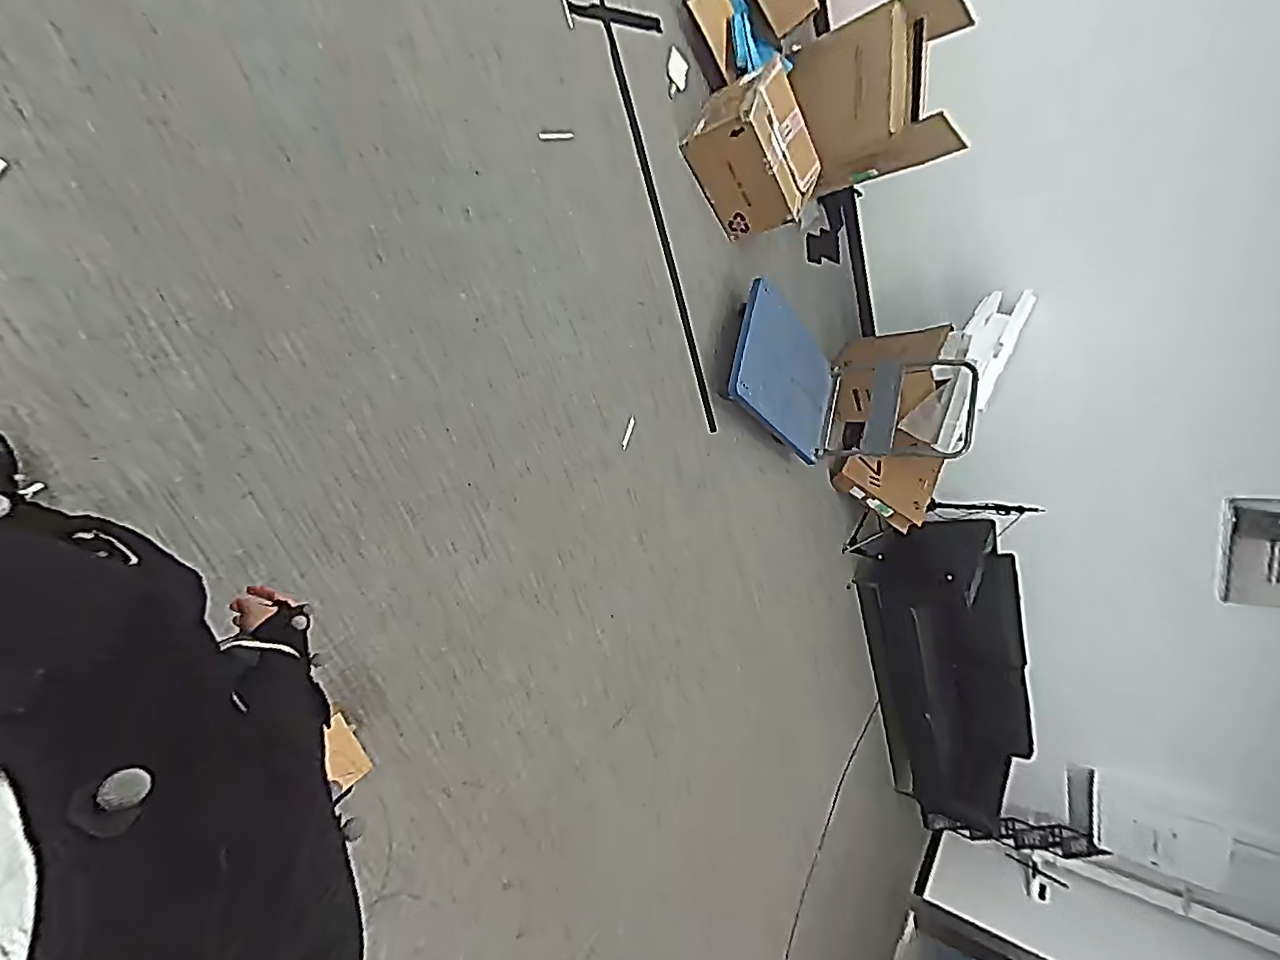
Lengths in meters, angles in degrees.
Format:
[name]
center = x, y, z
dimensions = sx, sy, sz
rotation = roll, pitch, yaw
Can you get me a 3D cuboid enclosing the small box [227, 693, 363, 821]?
[small box]
center = -0.751, 0.607, 1.186
dimensions = 0.179, 0.176, 0.168
rotation = -35, 116, -41
